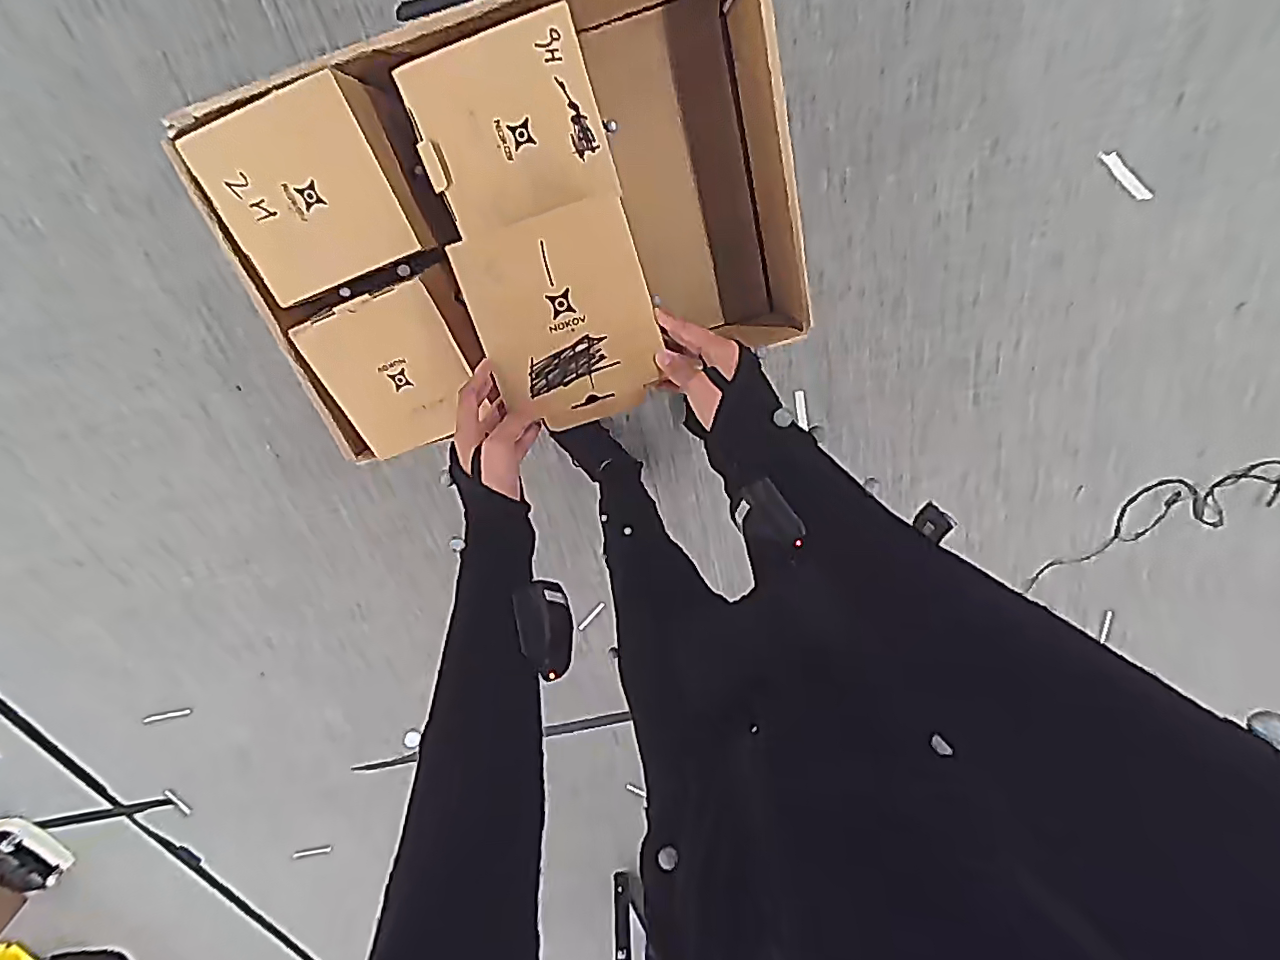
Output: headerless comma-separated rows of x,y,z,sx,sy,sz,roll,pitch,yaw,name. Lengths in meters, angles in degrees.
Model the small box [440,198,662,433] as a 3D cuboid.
-0.080,-0.167,0.580,0.168,0.176,0.179,-18,103,3,small box
